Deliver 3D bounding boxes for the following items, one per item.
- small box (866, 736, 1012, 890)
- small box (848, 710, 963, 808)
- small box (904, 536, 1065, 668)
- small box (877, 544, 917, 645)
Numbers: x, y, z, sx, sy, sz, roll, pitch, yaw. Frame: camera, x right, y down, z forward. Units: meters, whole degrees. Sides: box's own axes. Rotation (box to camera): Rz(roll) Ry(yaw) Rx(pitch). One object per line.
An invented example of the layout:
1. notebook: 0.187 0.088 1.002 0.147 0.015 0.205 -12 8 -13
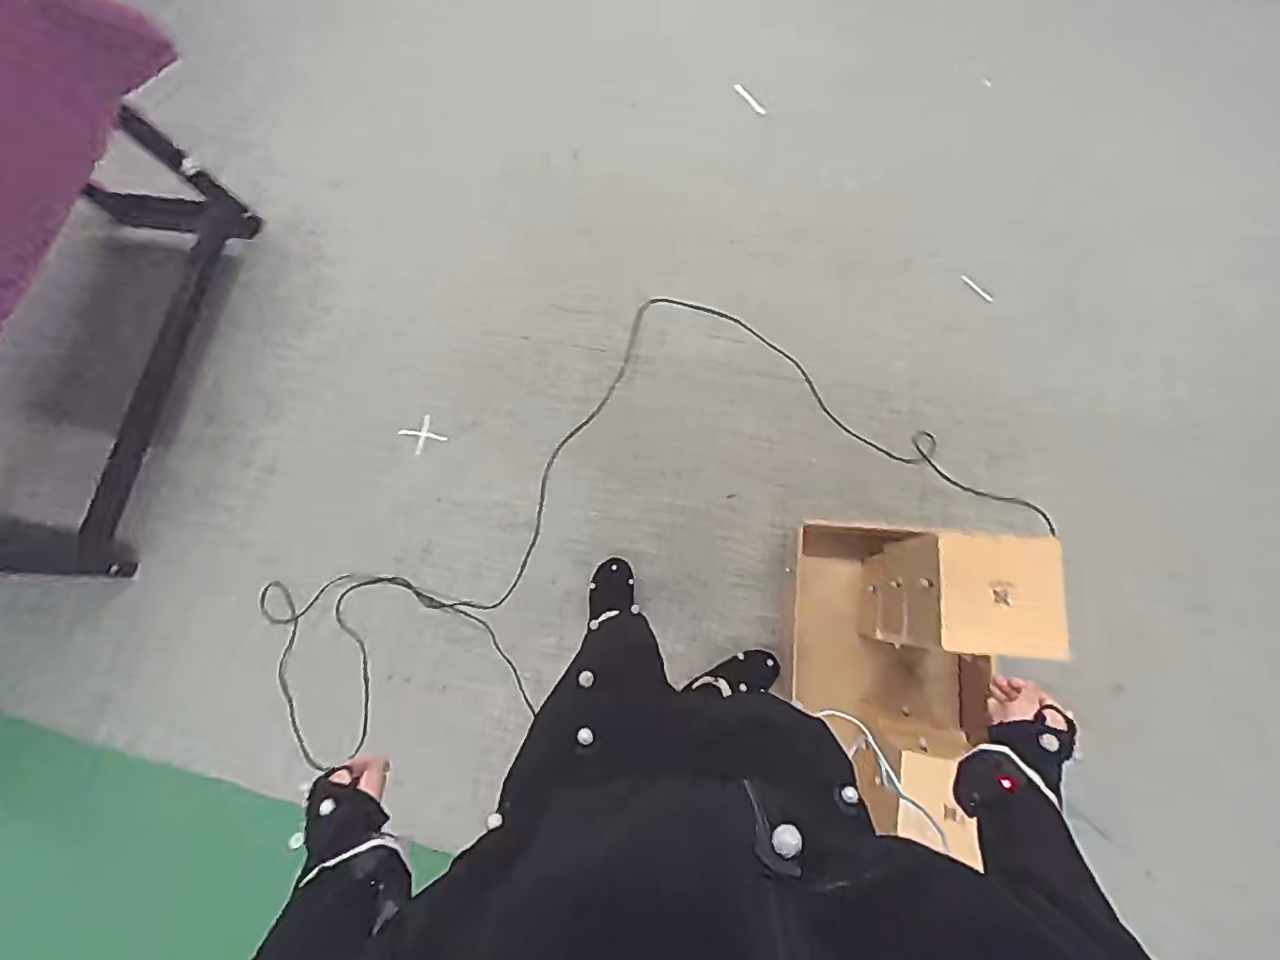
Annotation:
1. small box: 0.510 0.565 0.945 0.179 0.176 0.168 8 80 9
2. small box: 0.536 0.587 1.107 0.168 0.176 0.179 8 78 9
3. small box: 0.534 0.191 0.862 0.168 0.176 0.179 3 77 10
4. small box: 0.557 0.226 1.018 0.168 0.176 0.179 8 79 11
